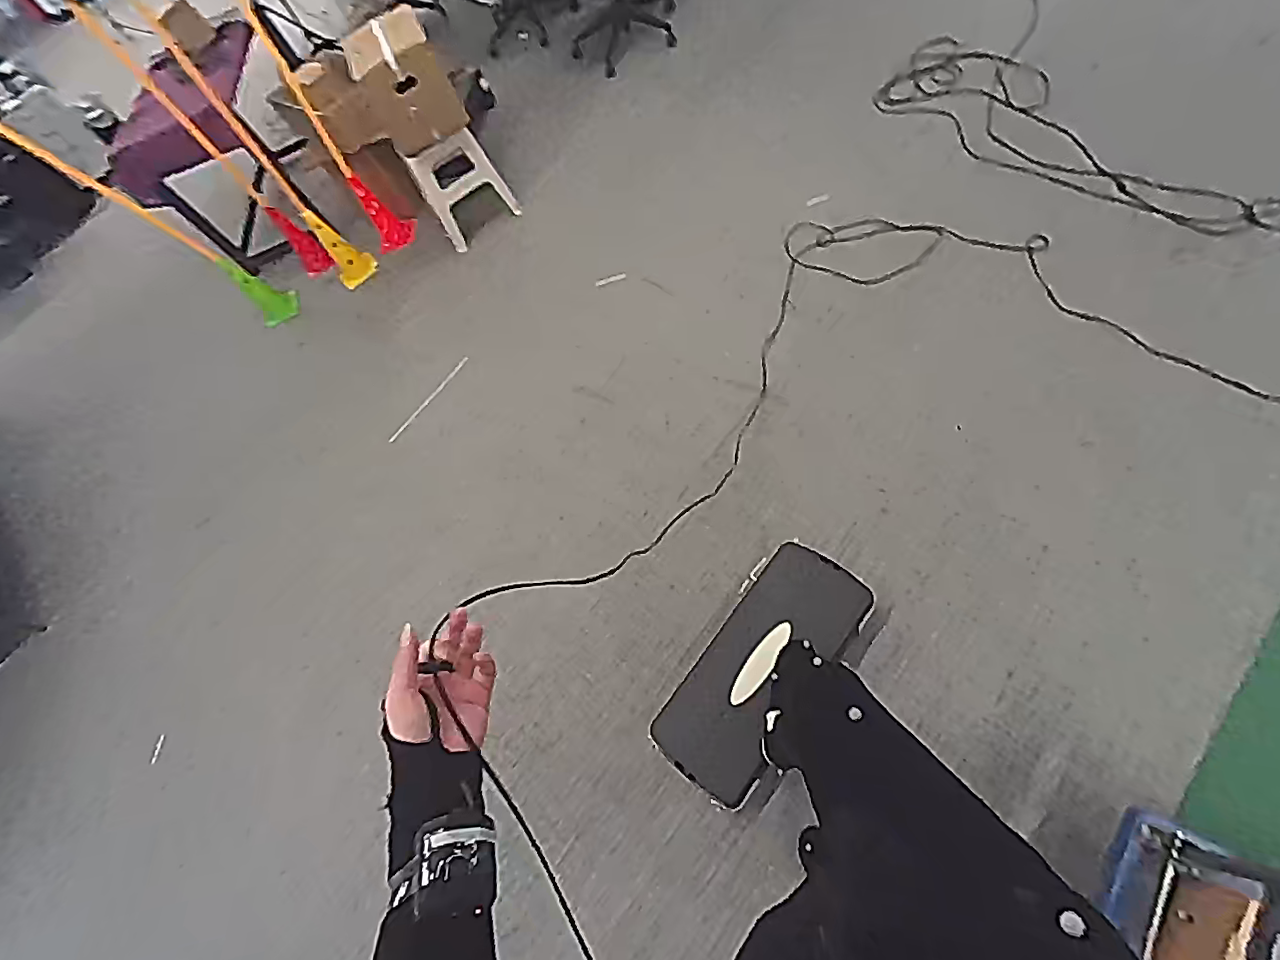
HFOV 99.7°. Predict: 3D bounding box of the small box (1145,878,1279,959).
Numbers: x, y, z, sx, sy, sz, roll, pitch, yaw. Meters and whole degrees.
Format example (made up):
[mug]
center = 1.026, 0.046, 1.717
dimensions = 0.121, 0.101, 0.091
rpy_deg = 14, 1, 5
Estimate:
[small box]
center = 0.951, 0.762, 0.834
dimensions = 0.179, 0.176, 0.168
rpy_deg = 30, 77, 28
